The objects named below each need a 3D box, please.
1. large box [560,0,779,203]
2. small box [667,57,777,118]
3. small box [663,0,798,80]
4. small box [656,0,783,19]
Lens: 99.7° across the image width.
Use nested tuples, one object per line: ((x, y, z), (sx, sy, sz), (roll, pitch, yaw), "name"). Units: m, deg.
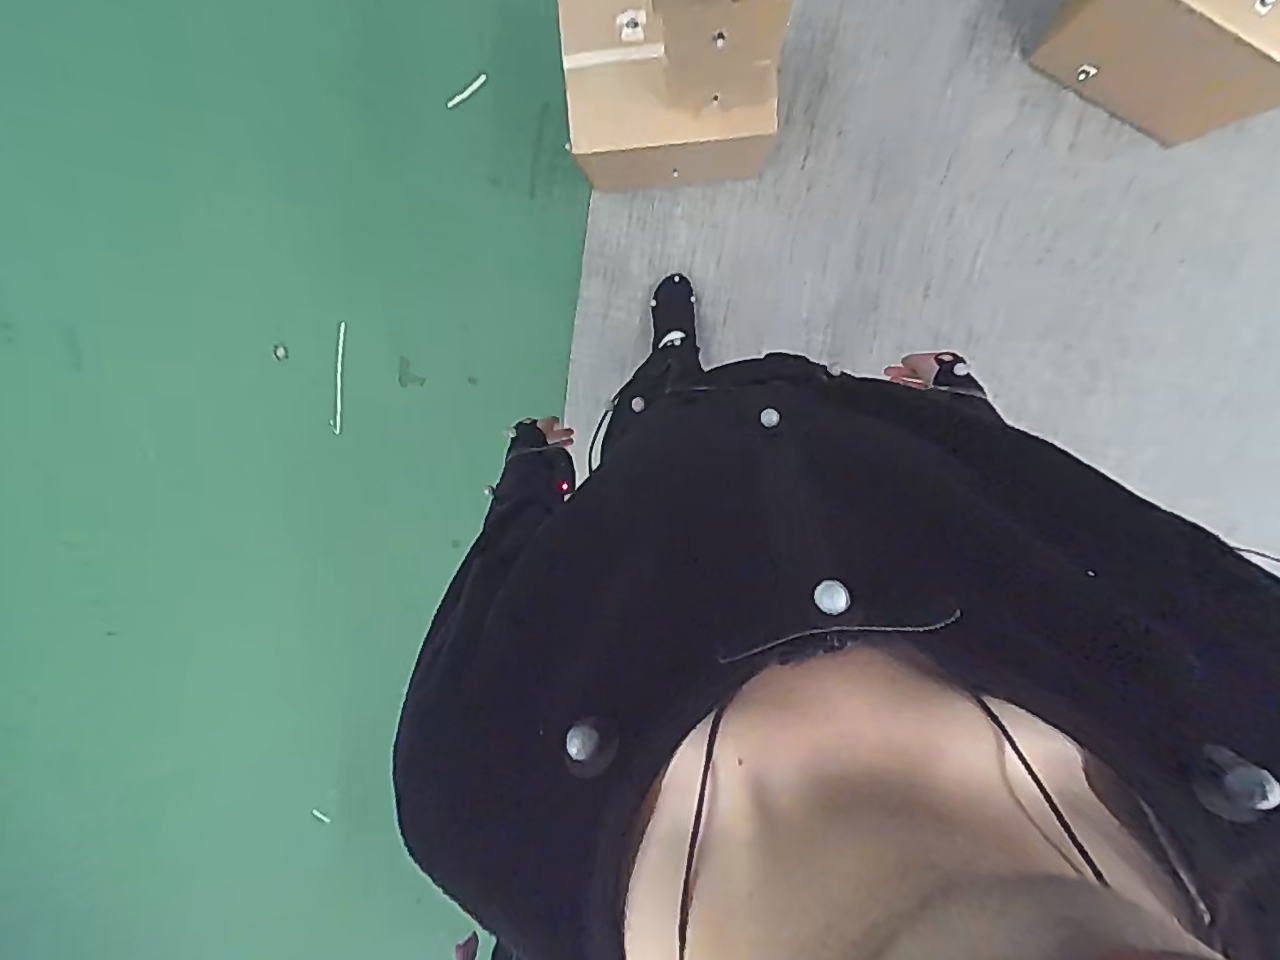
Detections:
((0.076, -0.818, 1.164), (0.408, 0.320, 0.320), (-2, 103, 7), "large box")
((0.137, -0.744, 0.923), (0.179, 0.176, 0.168), (2, 104, 5), "small box")
((0.121, -0.703, 0.765), (0.179, 0.176, 0.168), (-2, 104, 8), "small box")
((0.092, -0.662, 0.609), (0.168, 0.176, 0.179), (-1, 104, 6), "small box")
